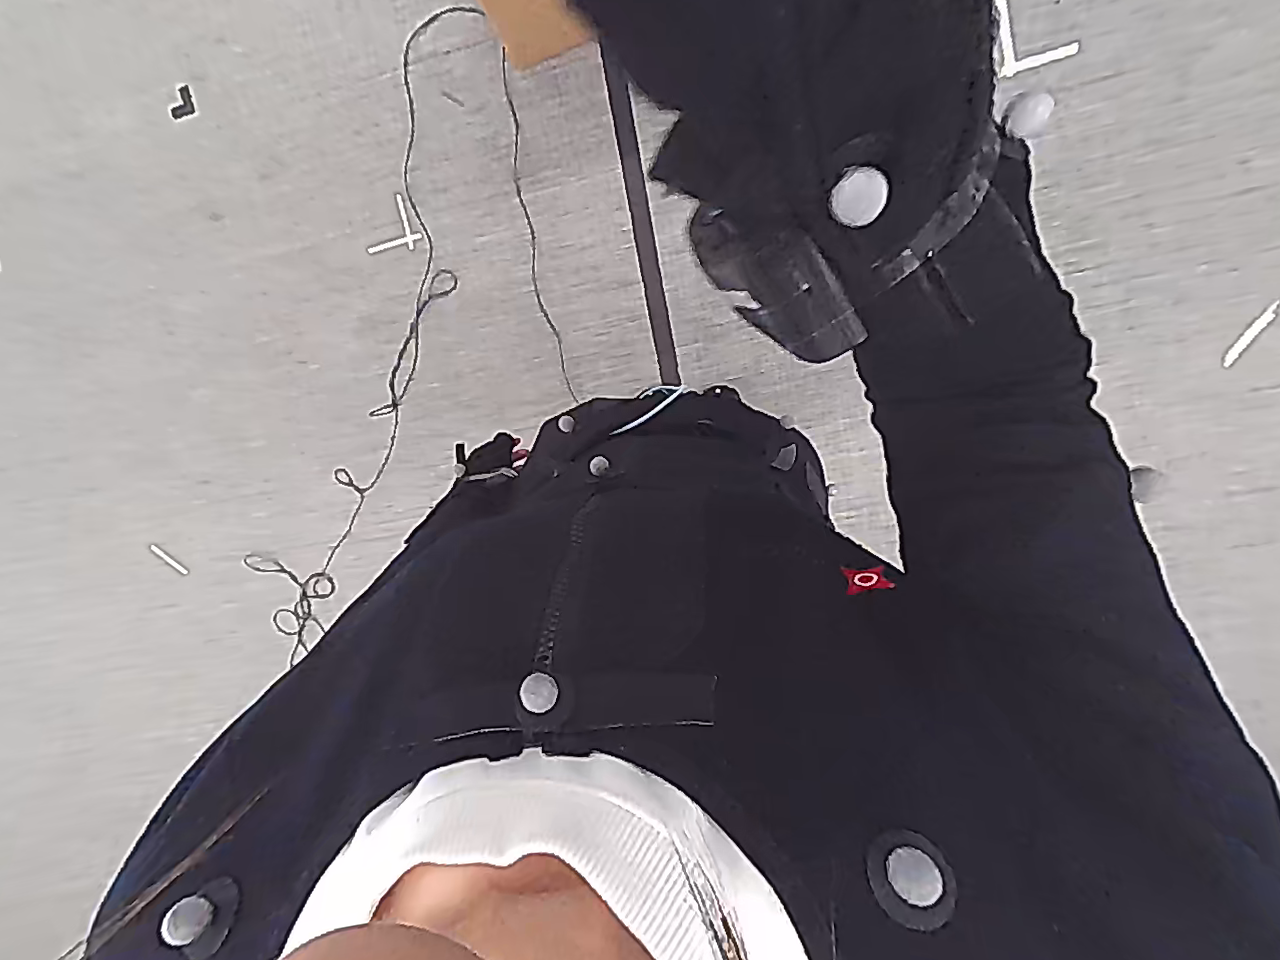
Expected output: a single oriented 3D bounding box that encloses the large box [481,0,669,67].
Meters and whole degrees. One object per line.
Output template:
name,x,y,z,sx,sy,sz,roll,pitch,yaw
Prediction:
large box,-0.172,-1.171,1.118,0.408,0.320,0.320,-17,99,8
